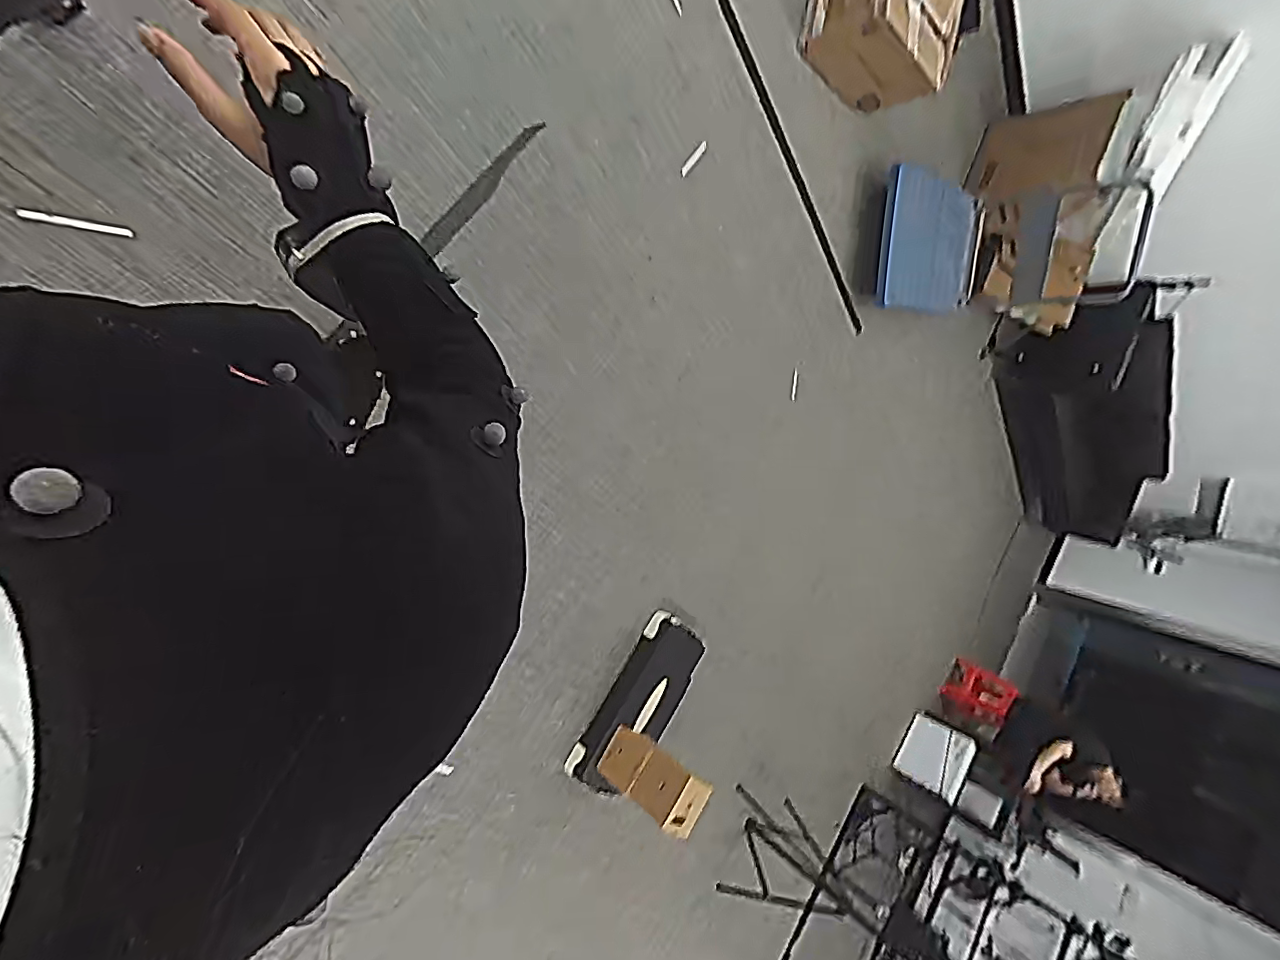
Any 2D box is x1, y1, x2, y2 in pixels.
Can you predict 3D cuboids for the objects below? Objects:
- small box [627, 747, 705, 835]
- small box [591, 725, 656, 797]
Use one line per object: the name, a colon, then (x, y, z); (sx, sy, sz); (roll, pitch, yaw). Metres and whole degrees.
small box: (0.079, 1.044, 1.820); (0.179, 0.176, 0.168); (-55, 130, -18)
small box: (-0.038, 1.007, 1.930); (0.179, 0.176, 0.168); (42, 73, -39)
